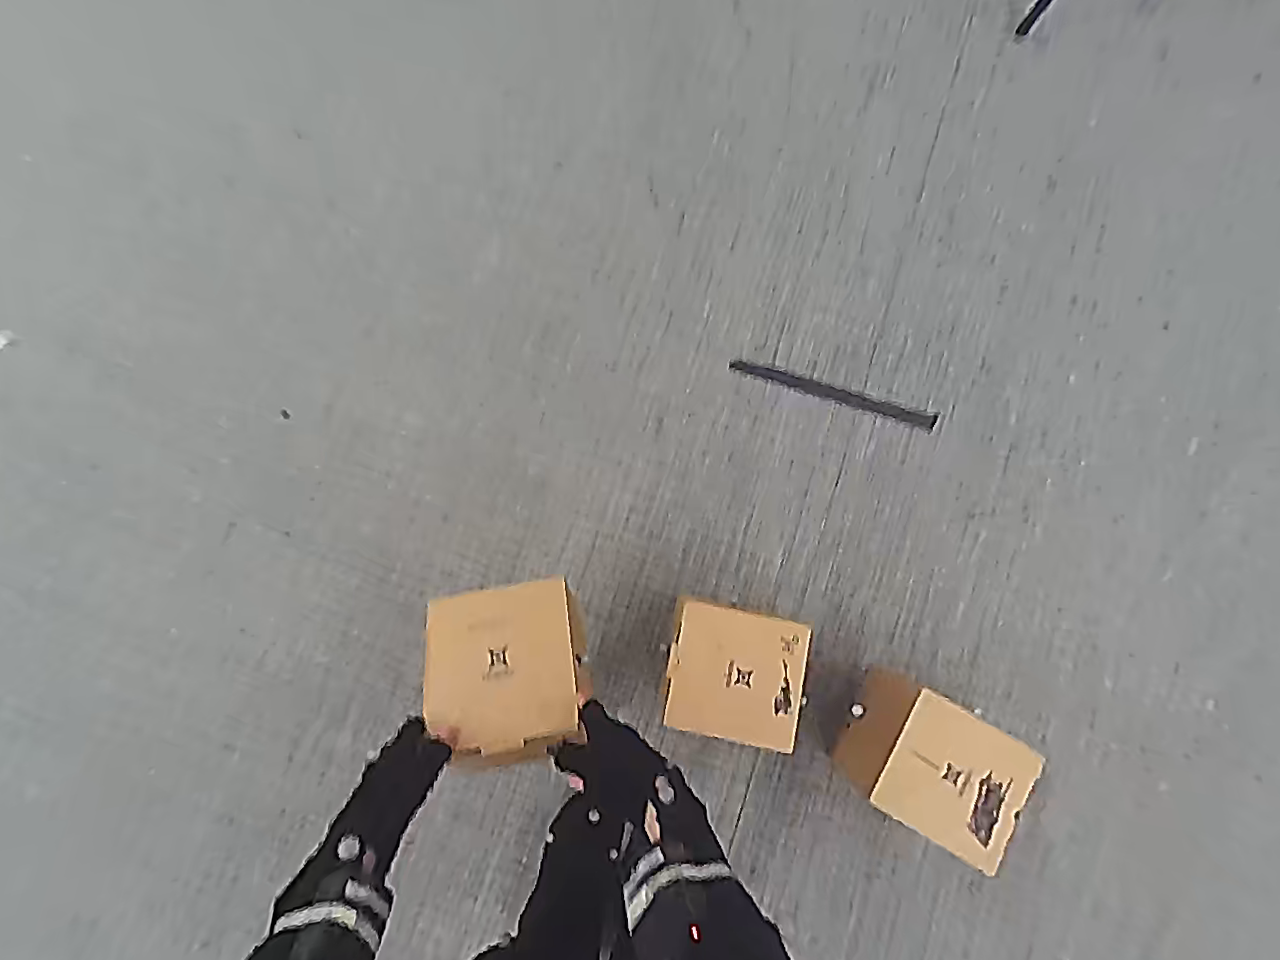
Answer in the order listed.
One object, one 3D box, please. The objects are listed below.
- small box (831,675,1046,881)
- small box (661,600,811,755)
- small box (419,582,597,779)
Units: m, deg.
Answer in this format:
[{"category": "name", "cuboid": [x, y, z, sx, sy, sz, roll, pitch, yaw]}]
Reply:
[{"category": "small box", "cuboid": [0.405, 0.399, 0.765, 0.179, 0.176, 0.168, 30, 82, 7]}, {"category": "small box", "cuboid": [0.130, 0.273, 0.790, 0.179, 0.176, 0.168, 11, 81, 4]}, {"category": "small box", "cuboid": [-0.150, 0.247, 0.650, 0.168, 0.176, 0.179, -11, 56, -4]}]
